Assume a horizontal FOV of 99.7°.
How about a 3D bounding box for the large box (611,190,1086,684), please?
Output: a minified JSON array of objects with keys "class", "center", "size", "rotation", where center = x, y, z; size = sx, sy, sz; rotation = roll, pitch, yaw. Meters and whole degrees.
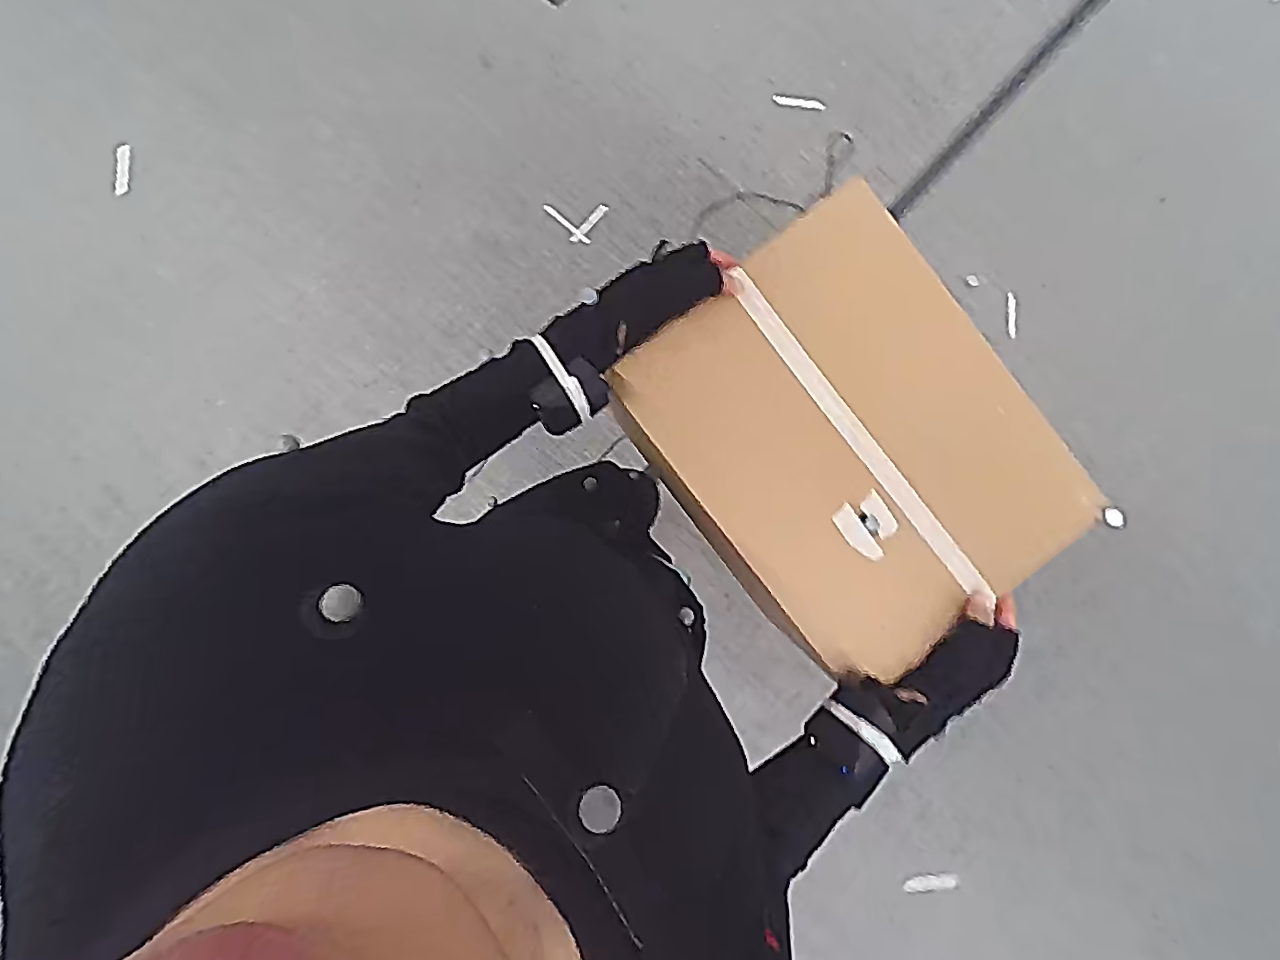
[{"class":"large box","center":[0.202,-0.044,0.681],"size":[0.320,0.320,0.408],"rotation":[-38,92,-1]}]
